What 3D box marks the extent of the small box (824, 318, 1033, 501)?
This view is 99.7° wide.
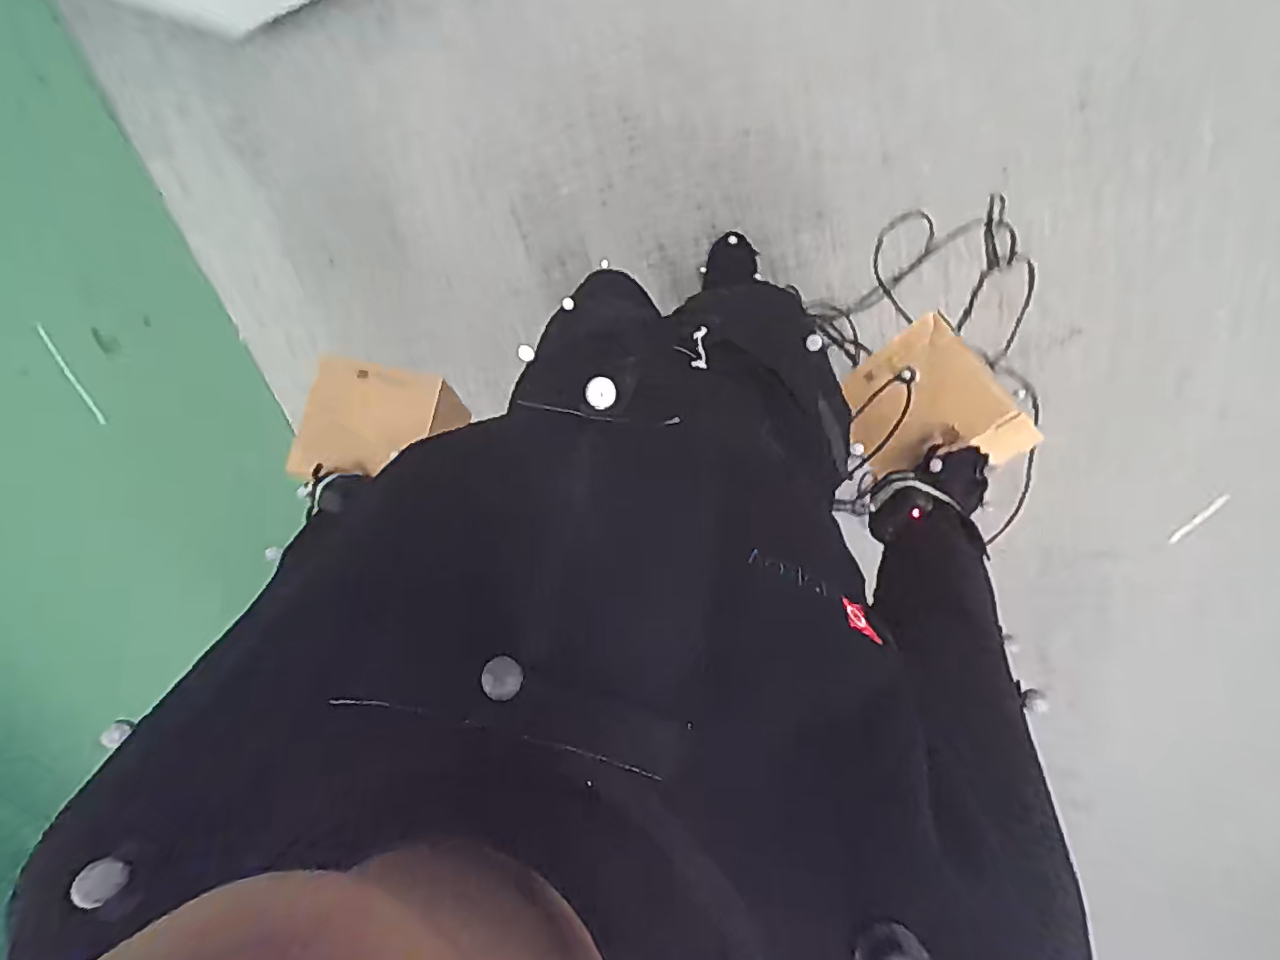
[{"bbox_3d":[0.384,-0.088,0.729,0.168,0.179,0.176,-38,60,32],"label":"small box"}]
